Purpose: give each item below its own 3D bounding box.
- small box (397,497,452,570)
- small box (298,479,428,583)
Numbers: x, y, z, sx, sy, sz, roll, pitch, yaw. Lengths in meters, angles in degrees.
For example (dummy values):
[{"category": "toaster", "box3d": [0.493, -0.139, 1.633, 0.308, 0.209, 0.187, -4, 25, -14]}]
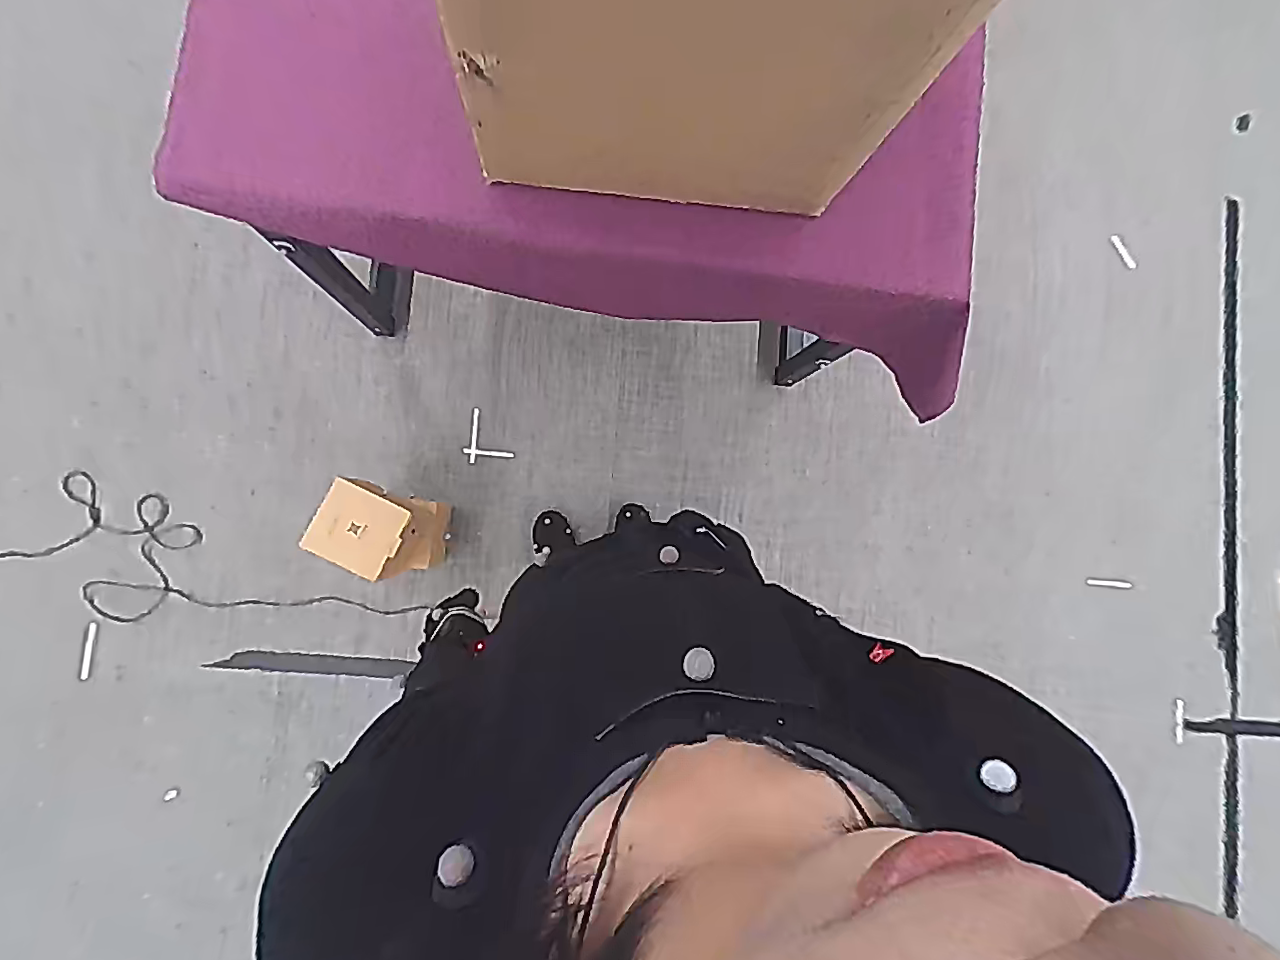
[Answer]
[{"category": "small box", "box3d": [-0.592, 0.131, 1.367, 0.179, 0.176, 0.168, 8, 86, -7]}, {"category": "small box", "box3d": [-0.601, 0.111, 1.203, 0.179, 0.176, 0.168, 27, 83, -4]}]
